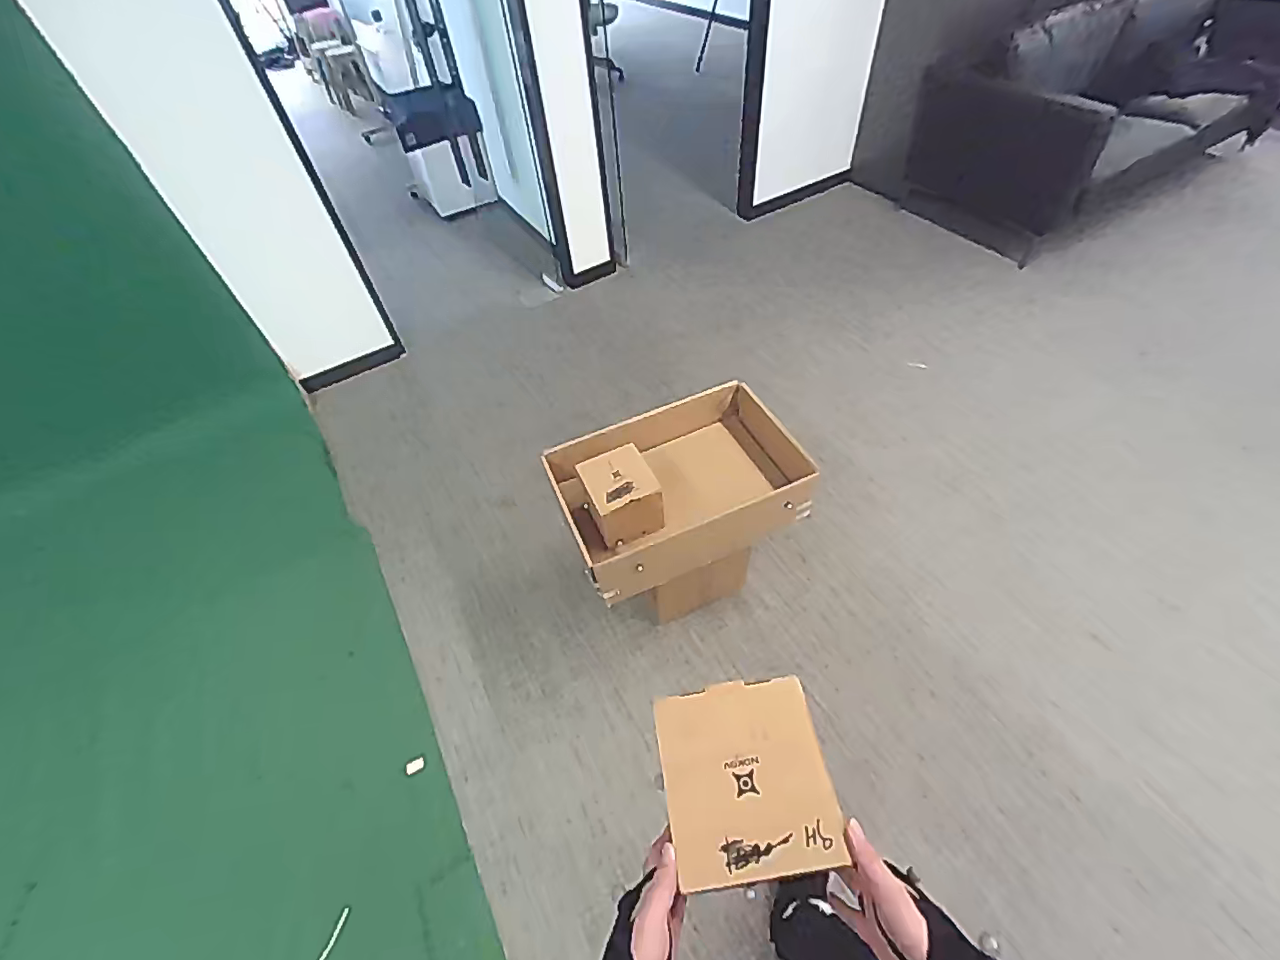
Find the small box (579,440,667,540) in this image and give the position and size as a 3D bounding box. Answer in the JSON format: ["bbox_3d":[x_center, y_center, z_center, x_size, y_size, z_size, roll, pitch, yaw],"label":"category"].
[{"bbox_3d":[-0.040,0.033,1.394,0.168,0.176,0.179,-23,53,-11],"label":"small box"}]

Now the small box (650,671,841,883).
[{"bbox_3d":[0.109,0.343,0.621,0.168,0.176,0.179,-11,52,2],"label":"small box"}]
